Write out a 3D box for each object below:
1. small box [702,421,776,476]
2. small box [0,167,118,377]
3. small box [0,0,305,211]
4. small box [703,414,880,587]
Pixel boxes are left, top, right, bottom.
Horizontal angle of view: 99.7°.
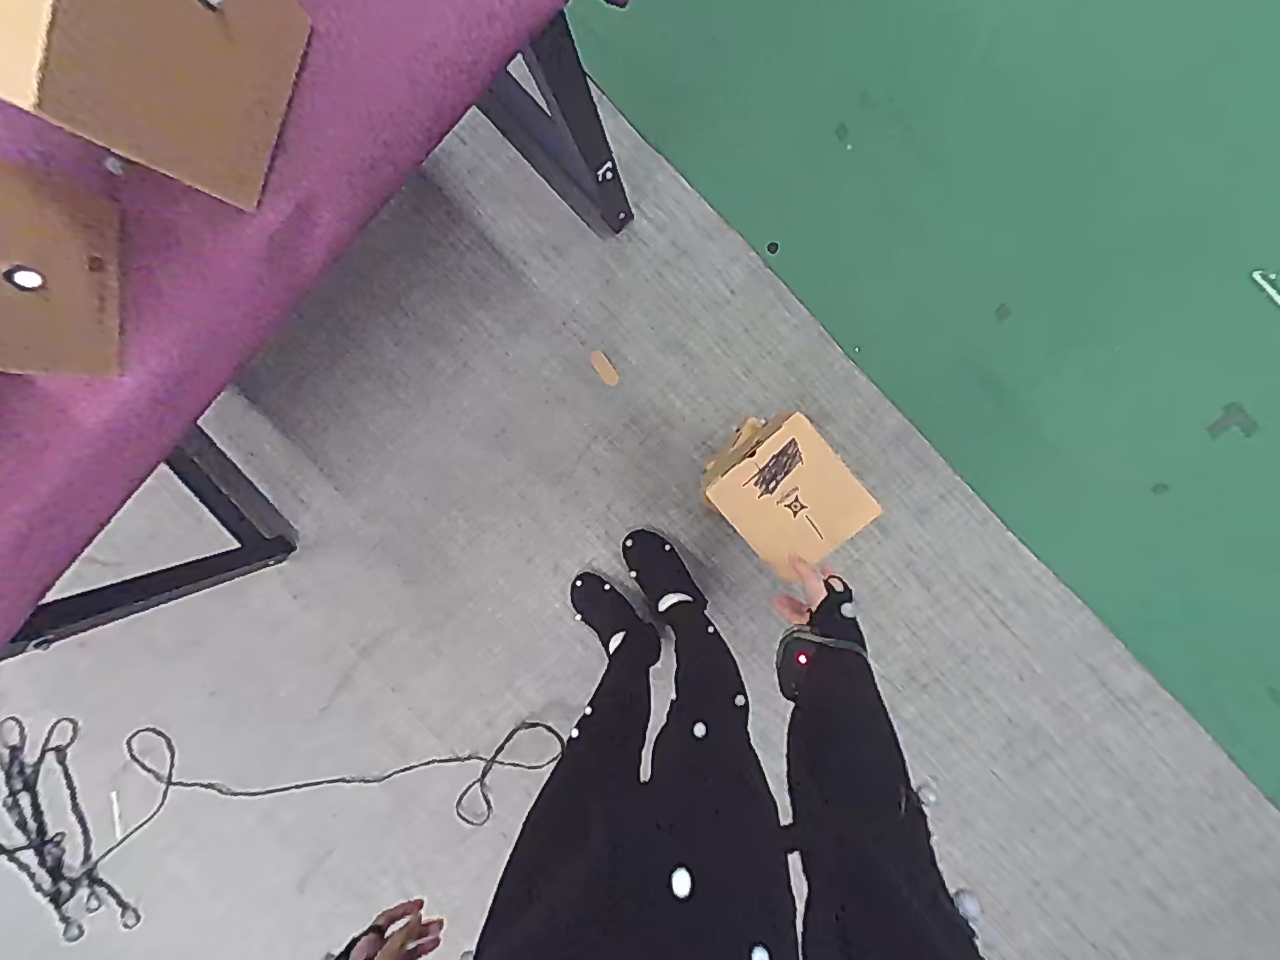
[{"bbox_3d":[0.245,-0.008,1.122,0.179,0.176,0.168,-32,93,8],"label":"small box"},{"bbox_3d":[-0.594,-0.182,0.451,0.179,0.176,0.168,8,96,5],"label":"small box"},{"bbox_3d":[-0.402,-0.348,0.415,0.168,0.176,0.179,25,98,5],"label":"small box"},{"bbox_3d":[0.207,0.022,0.797,0.168,0.176,0.179,-40,92,8],"label":"small box"}]
